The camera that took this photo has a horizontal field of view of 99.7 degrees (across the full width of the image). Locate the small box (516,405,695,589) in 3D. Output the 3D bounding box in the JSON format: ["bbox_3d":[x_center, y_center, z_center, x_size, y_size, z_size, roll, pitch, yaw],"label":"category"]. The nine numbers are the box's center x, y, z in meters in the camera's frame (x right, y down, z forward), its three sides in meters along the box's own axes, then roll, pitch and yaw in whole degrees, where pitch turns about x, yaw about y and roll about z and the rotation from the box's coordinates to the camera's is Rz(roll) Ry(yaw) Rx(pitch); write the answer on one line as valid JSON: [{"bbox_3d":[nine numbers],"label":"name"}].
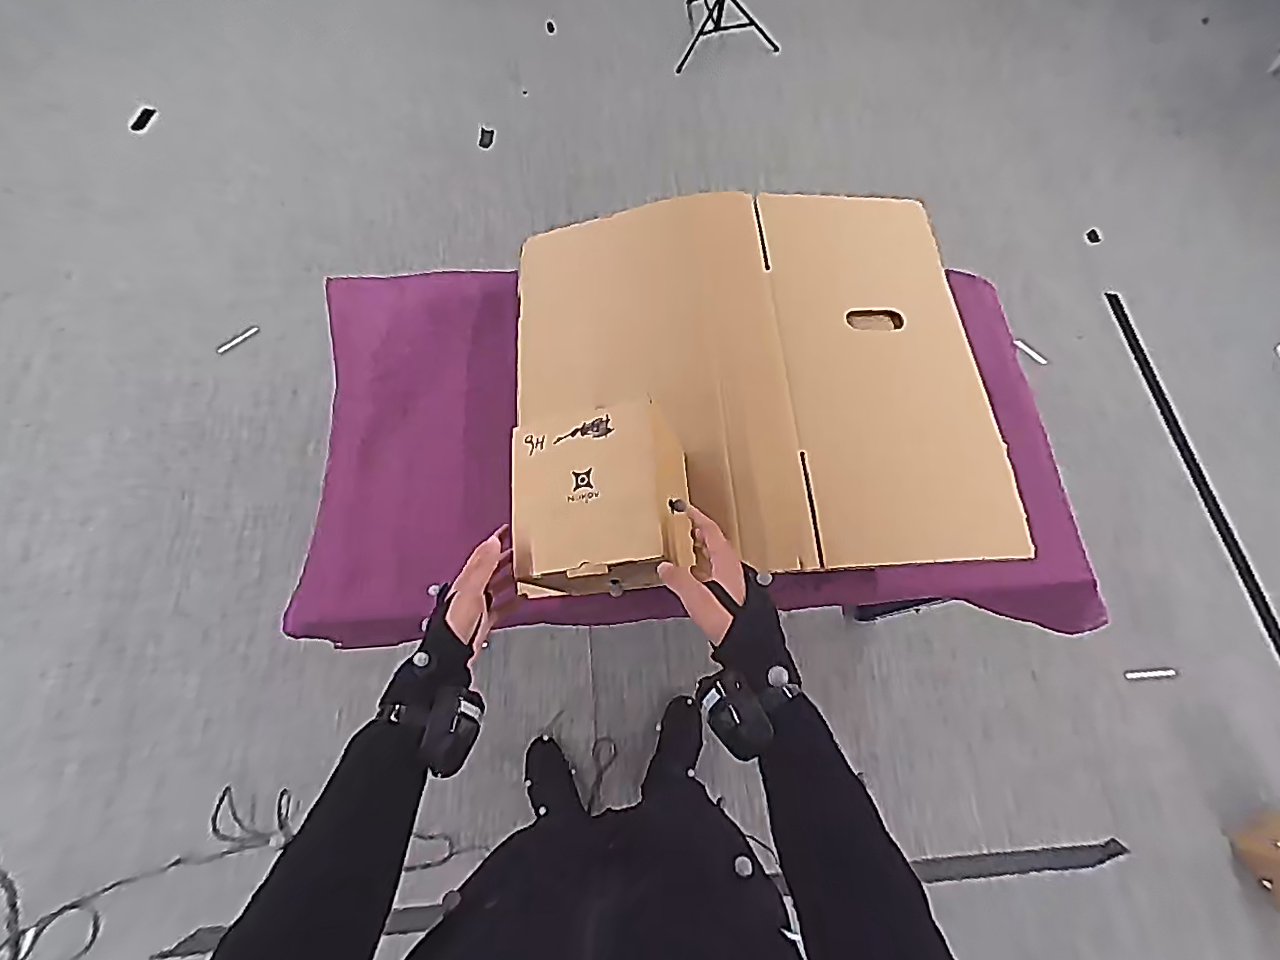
[{"bbox_3d":[-0.035,0.035,0.648,0.168,0.176,0.179,-9,71,15],"label":"small box"}]
